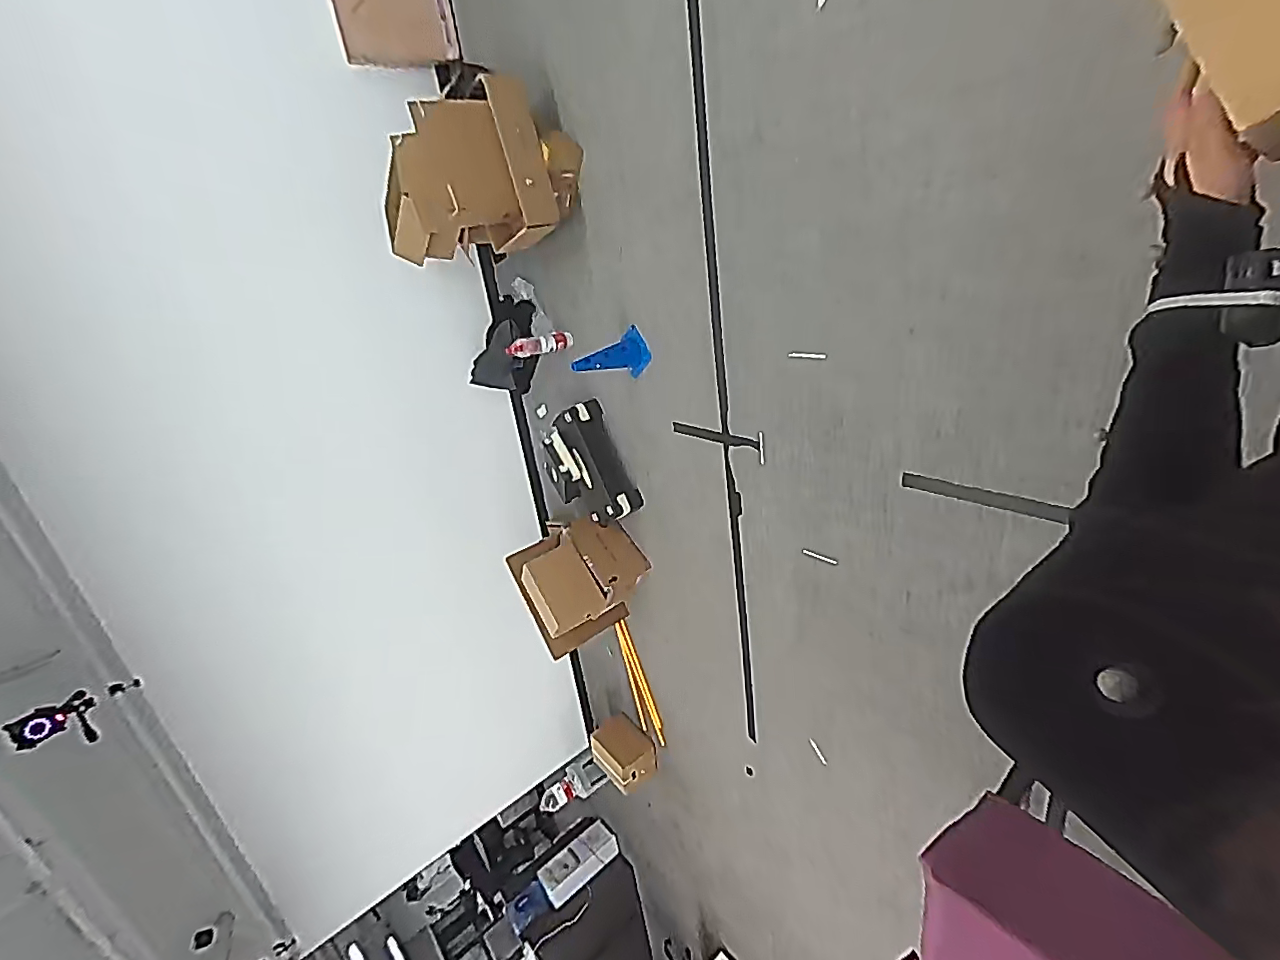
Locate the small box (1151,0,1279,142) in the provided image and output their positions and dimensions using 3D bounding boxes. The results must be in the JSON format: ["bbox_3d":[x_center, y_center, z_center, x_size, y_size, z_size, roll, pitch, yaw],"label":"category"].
[{"bbox_3d":[0.445,-0.341,0.329,0.168,0.176,0.179,-32,75,54],"label":"small box"}]
